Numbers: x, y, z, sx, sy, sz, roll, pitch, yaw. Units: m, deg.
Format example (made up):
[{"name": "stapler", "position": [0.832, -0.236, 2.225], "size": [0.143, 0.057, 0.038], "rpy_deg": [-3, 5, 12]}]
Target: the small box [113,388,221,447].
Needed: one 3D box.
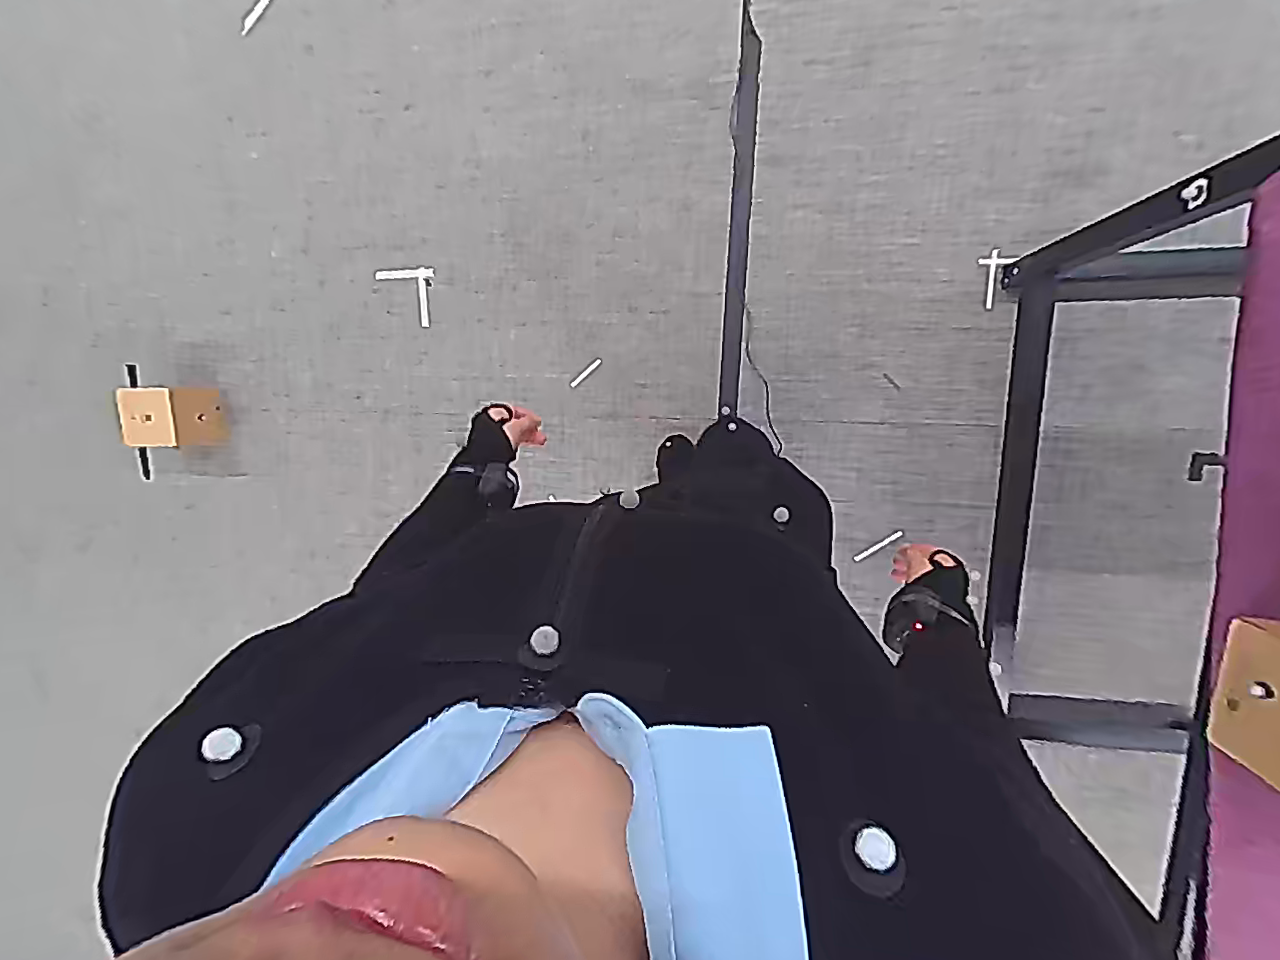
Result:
[{"name": "small box", "position": [-1.370, -0.186, 1.582], "size": [0.179, 0.176, 0.168], "rpy_deg": [1, 98, 9]}]
